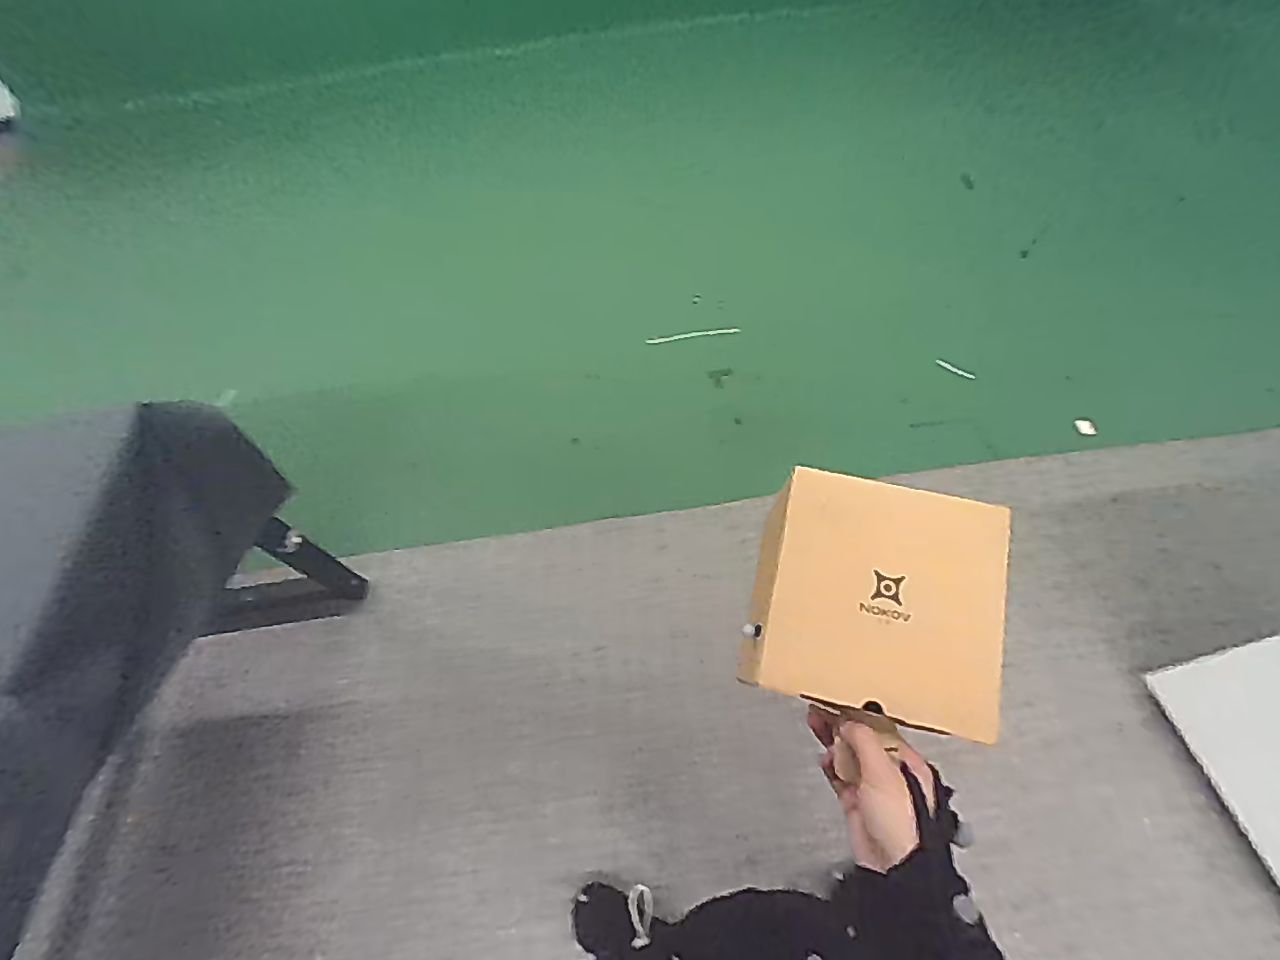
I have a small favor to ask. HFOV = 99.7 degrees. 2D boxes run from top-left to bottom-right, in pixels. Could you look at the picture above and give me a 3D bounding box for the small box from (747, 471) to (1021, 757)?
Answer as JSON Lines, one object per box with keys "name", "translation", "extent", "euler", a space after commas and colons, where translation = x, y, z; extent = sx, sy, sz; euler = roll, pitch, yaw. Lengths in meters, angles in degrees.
{"name": "small box", "translation": [0.195, 0.114, 0.474], "extent": [0.168, 0.176, 0.179], "euler": [12, 74, 8]}
